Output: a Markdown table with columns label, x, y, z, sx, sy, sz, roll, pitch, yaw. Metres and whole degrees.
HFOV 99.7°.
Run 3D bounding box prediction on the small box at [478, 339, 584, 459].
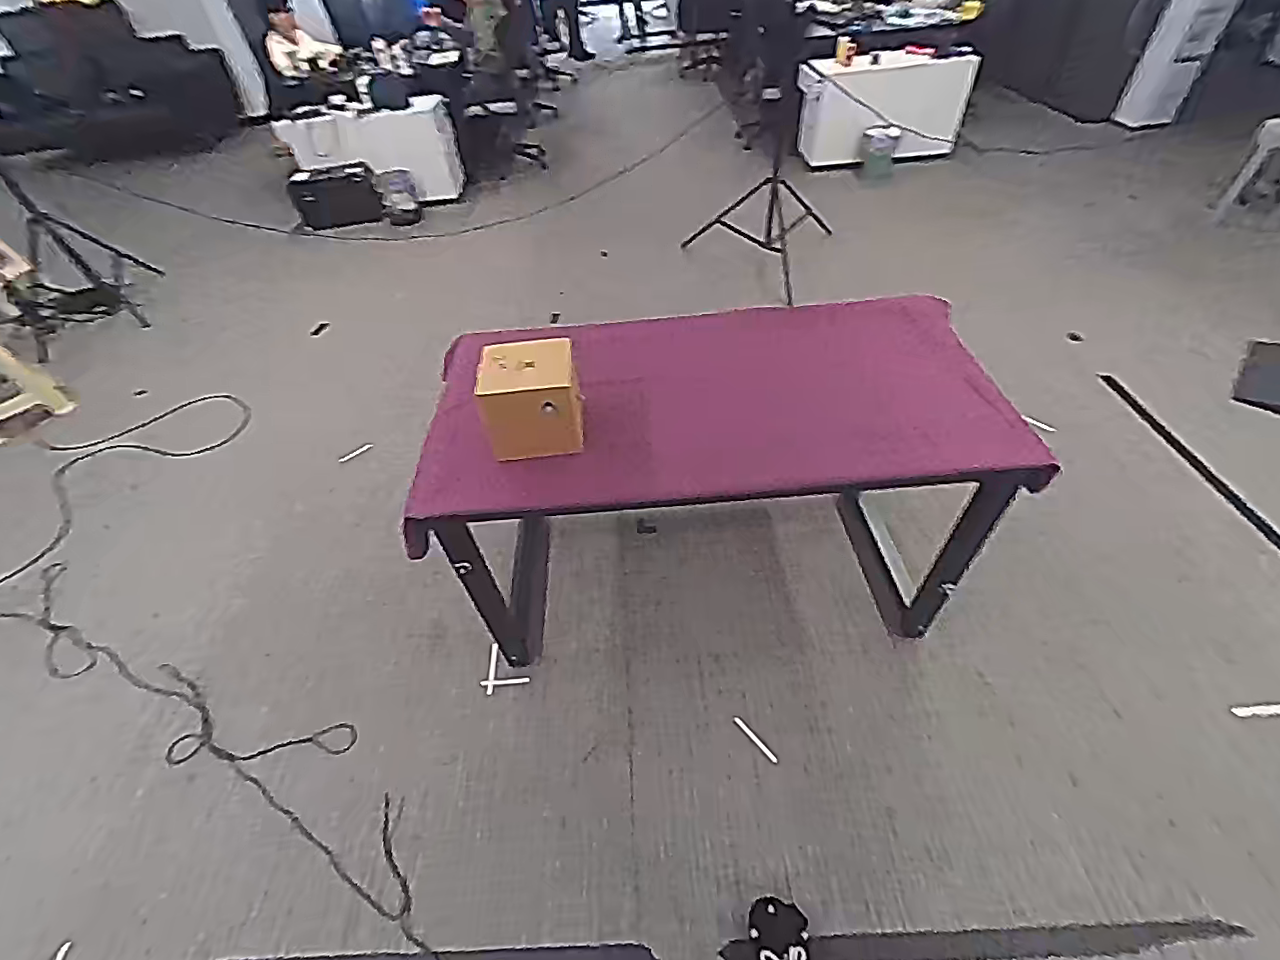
| label | x | y | z | sx | sy | sz | roll | pitch | yaw |
| --- | --- | --- | --- | --- | --- | --- | --- | --- | --- |
| small box | -0.206 | -0.160 | 1.083 | 0.179 | 0.176 | 0.168 | -6 | 45 | -1 |
